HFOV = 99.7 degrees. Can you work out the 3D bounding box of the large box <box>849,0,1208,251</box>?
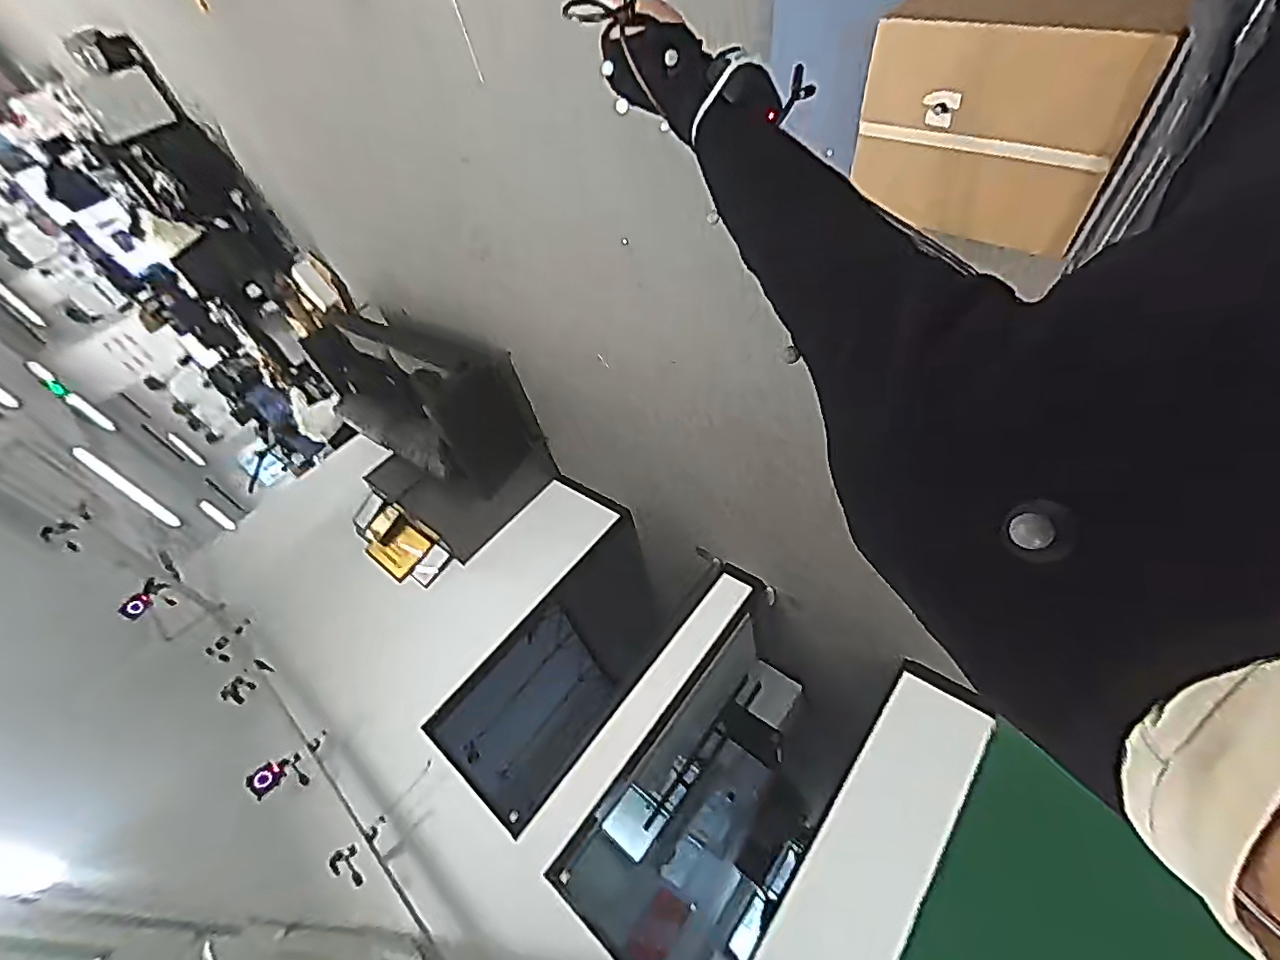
[{"bbox_3d":[0.655,-0.667,0.961,0.408,0.320,0.320,31,152,28],"label":"large box"}]
